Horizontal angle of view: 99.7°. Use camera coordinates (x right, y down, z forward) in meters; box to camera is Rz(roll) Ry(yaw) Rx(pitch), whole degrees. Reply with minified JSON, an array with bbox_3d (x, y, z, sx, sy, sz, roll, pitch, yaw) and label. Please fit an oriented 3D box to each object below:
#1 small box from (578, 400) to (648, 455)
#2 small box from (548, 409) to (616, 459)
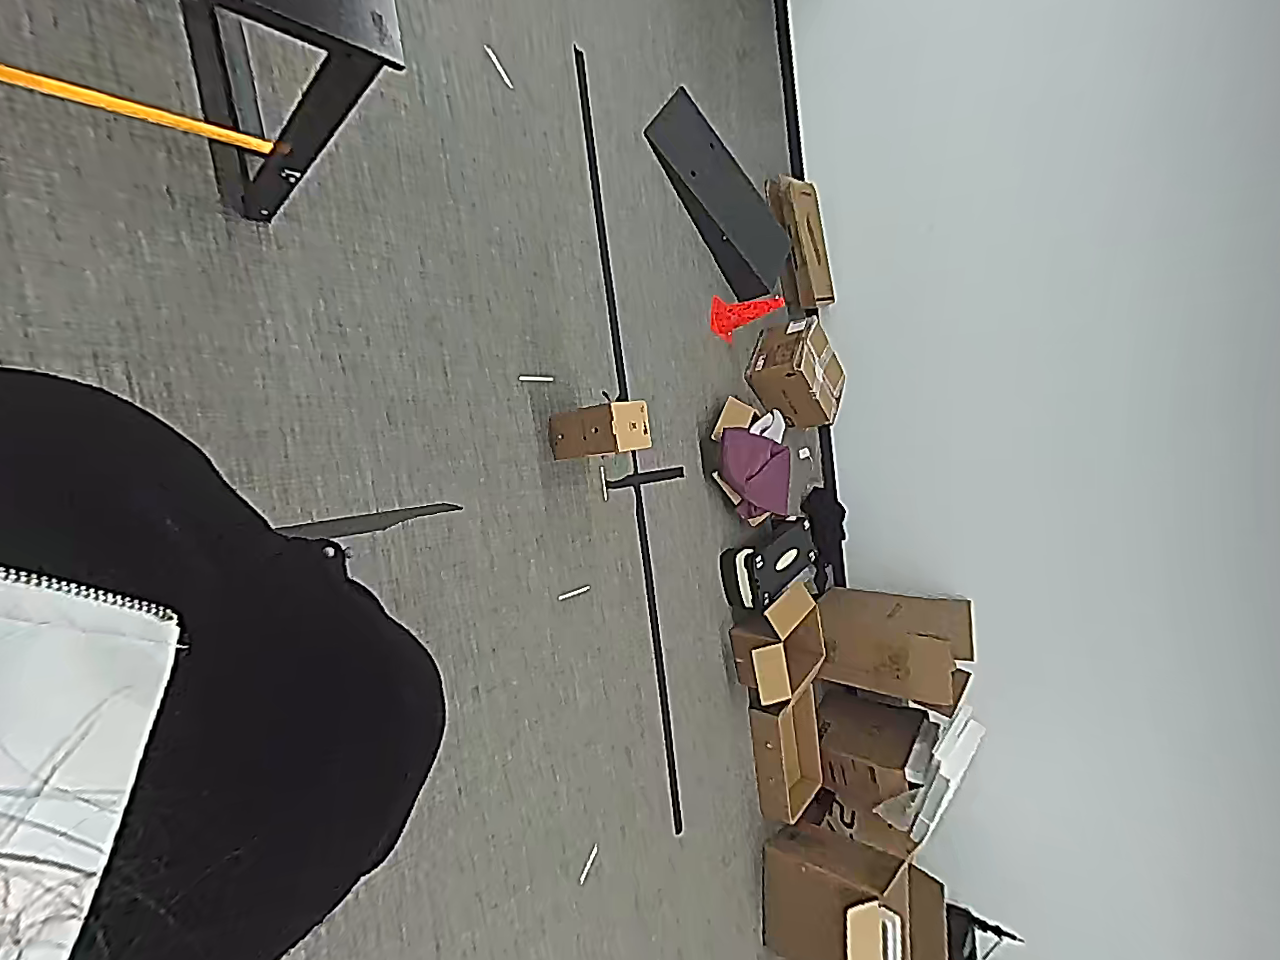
[{"bbox_3d":[-0.098,-0.182,1.864,0.179,0.176,0.168,-12,96,-47],"label":"small box"},{"bbox_3d":[-0.212,-0.168,1.982,0.179,0.176,0.168,-9,94,-48],"label":"small box"}]
